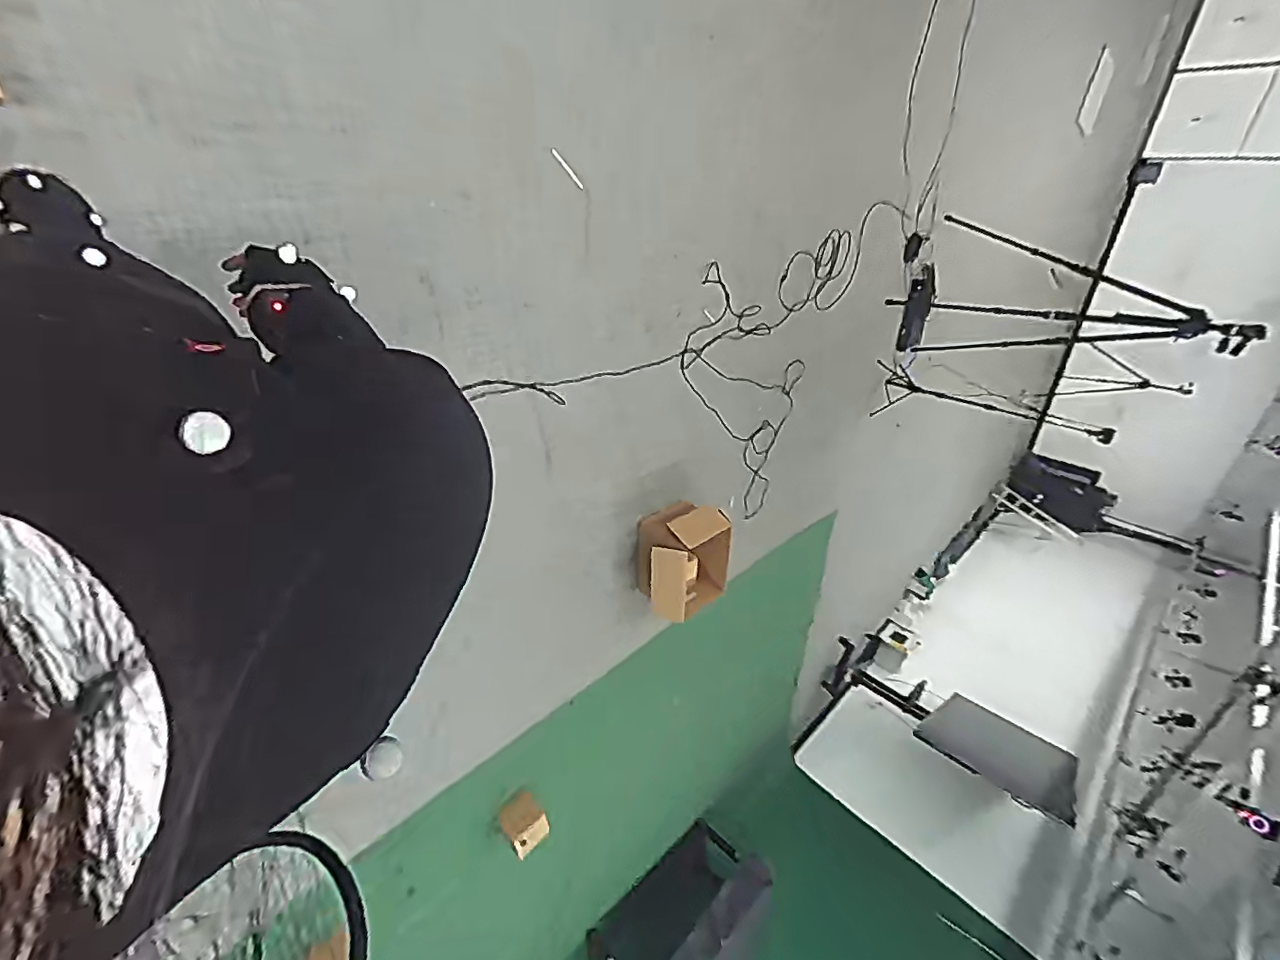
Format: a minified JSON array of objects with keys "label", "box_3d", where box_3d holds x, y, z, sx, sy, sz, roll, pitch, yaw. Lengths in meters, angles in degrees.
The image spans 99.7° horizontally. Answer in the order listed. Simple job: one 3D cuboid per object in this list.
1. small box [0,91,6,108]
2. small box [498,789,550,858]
[{"label":"small box","box_3d":[-1.035,-0.621,0.740,0.168,0.176,0.179,-27,129,-35]},{"label":"small box","box_3d":[-0.552,1.614,2.546,0.179,0.176,0.168,-29,131,-36]}]
